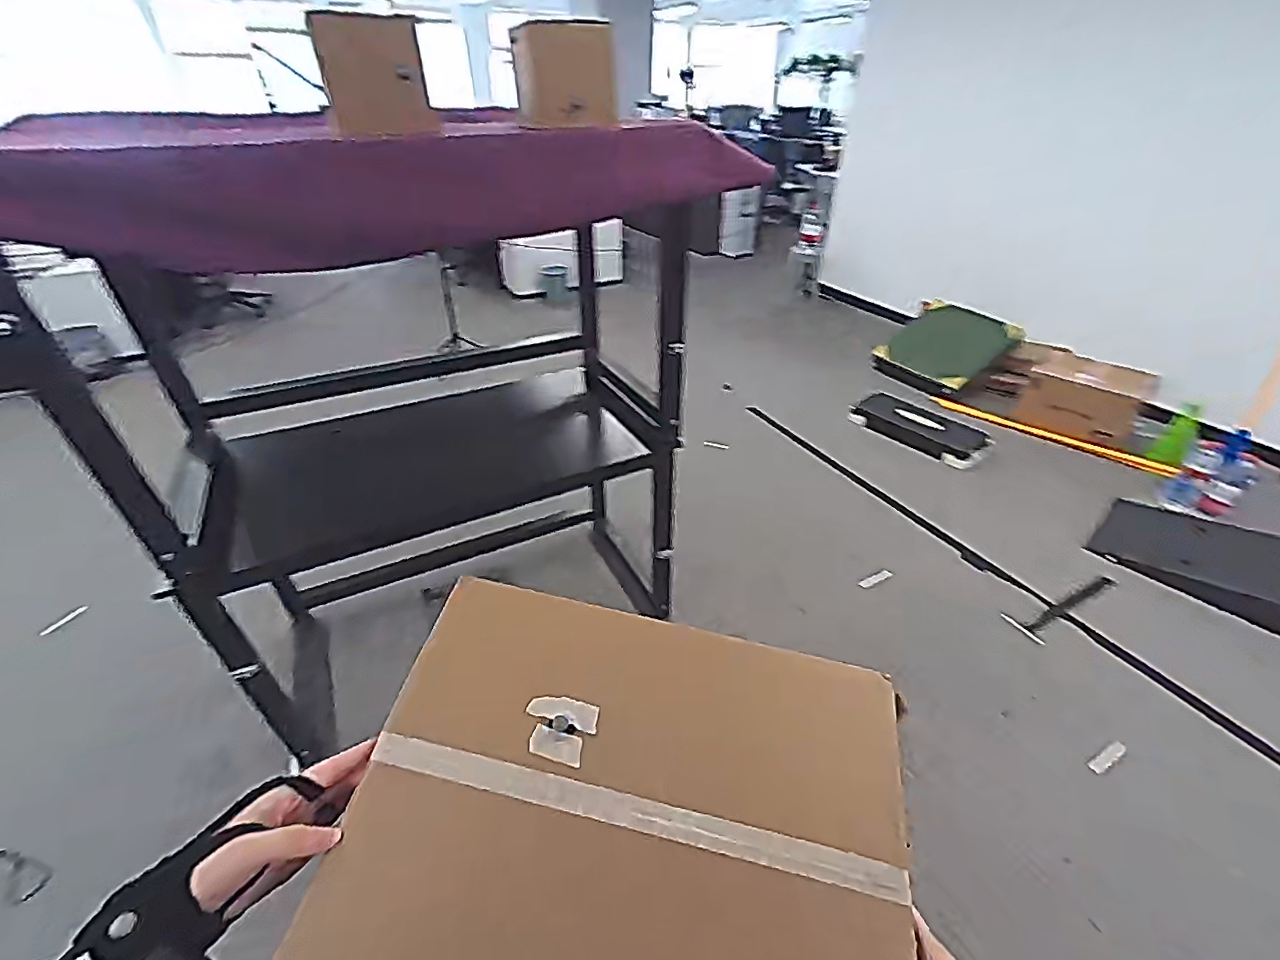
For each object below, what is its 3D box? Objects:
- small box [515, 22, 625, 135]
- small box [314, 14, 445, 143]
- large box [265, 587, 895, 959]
[{"bbox_3d":[-0.140,-0.804,1.093,0.179,0.176,0.168,-15,37,-20],"label":"small box"},{"bbox_3d":[-0.458,-0.709,0.965,0.179,0.176,0.168,-17,38,-21],"label":"small box"},{"bbox_3d":[-0.022,0.342,0.511,0.408,0.320,0.320,10,49,6],"label":"large box"}]
